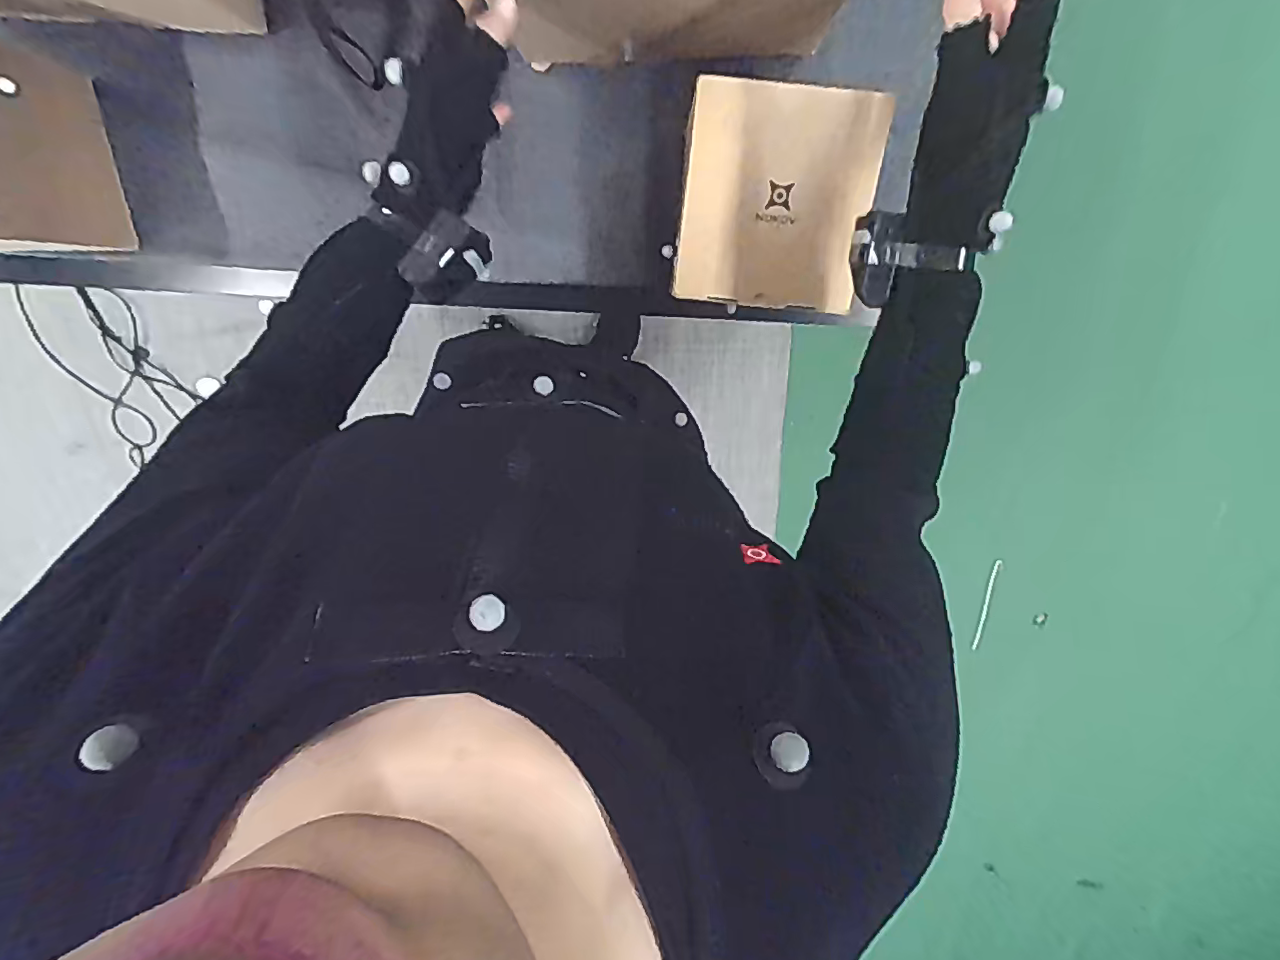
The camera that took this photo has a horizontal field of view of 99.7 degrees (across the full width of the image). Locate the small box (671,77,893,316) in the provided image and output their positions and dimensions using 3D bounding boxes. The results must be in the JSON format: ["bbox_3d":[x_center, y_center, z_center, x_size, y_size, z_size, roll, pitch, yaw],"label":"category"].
[{"bbox_3d":[0.123,-0.270,0.550,0.168,0.176,0.179,5,111,-1],"label":"small box"}]
